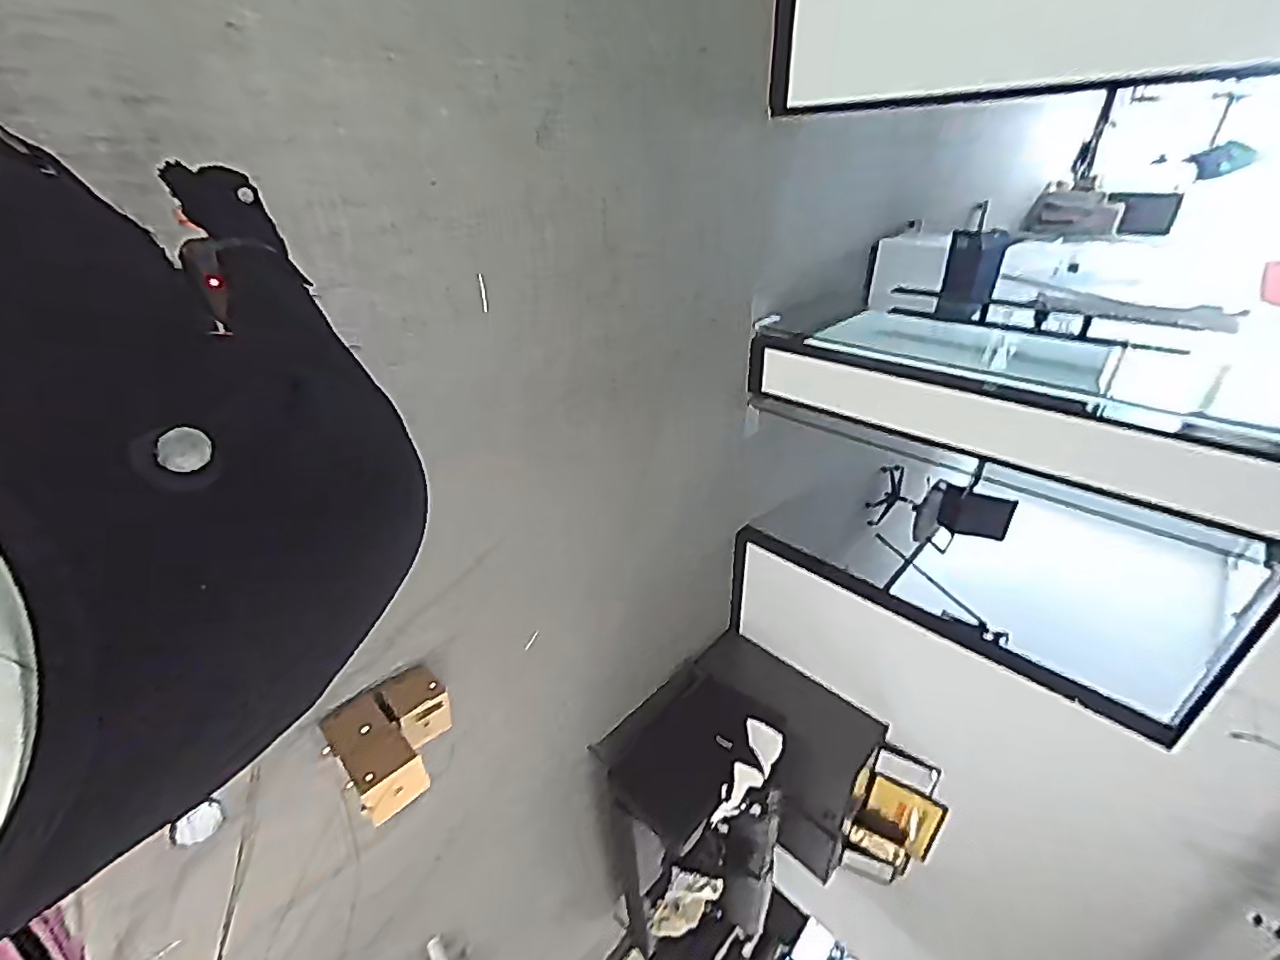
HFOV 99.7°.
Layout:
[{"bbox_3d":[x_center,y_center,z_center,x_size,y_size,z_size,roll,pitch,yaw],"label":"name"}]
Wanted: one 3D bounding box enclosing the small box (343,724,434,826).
[{"bbox_3d":[-0.761,0.883,1.637,0.179,0.176,0.168,-29,130,-36],"label":"small box"}]
